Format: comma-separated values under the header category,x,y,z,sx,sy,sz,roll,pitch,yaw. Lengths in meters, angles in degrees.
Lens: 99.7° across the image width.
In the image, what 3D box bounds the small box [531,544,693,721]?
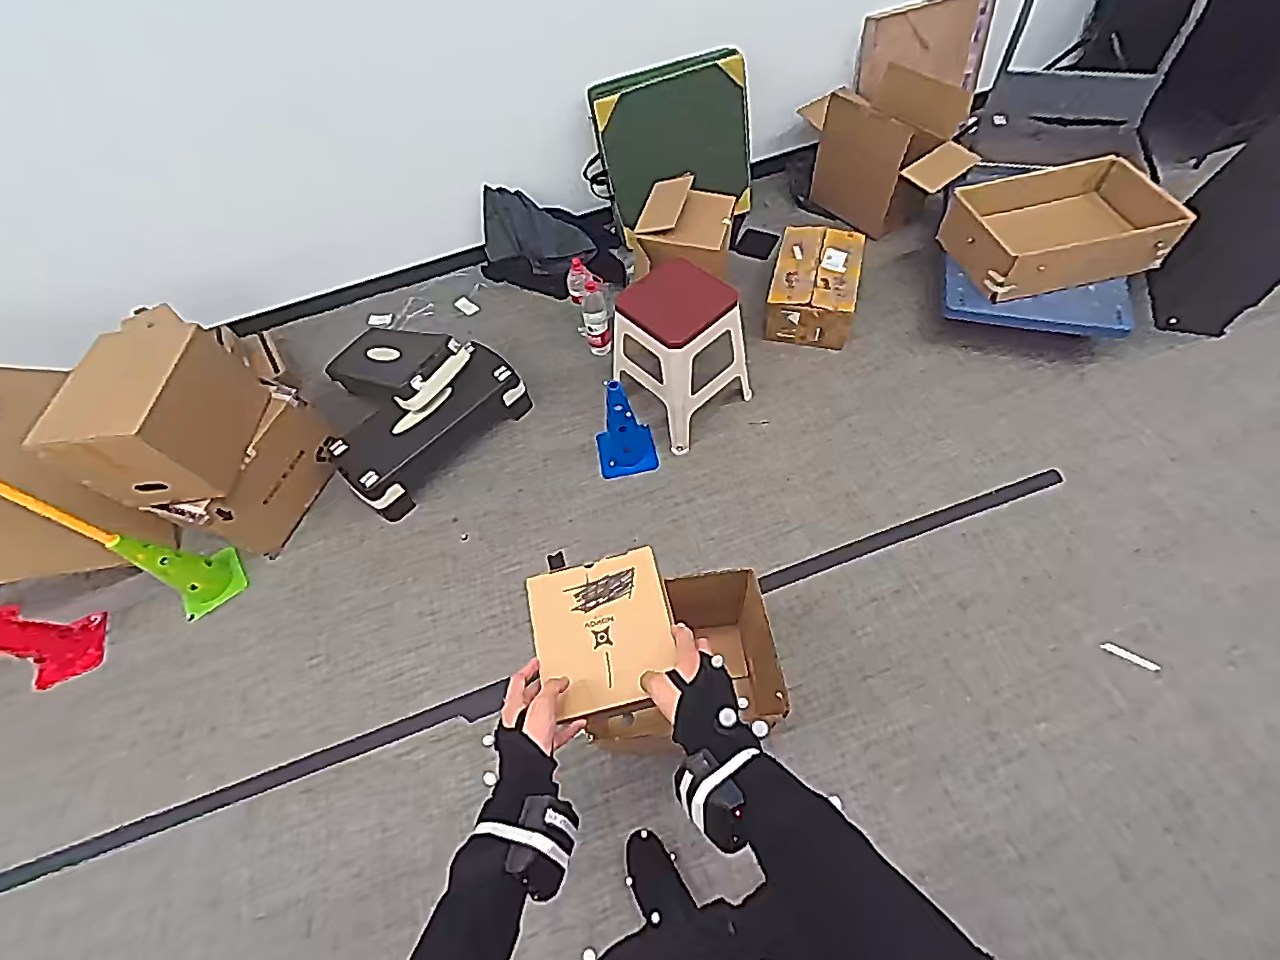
category,x,y,z,sx,sy,sz,roll,pitch,yaw
small box,-0.032,0.207,0.709,0.168,0.176,0.179,-15,65,1
